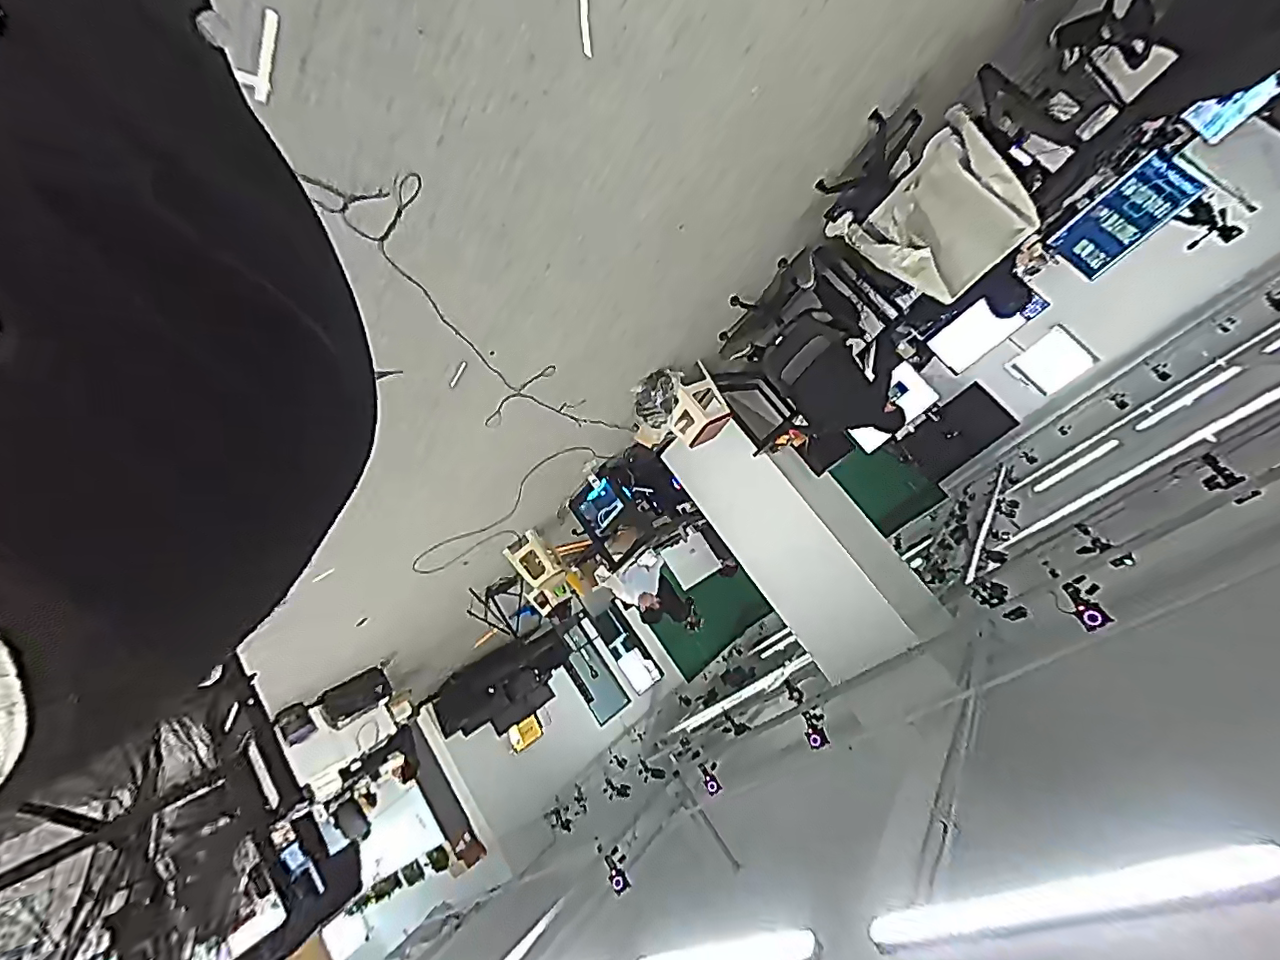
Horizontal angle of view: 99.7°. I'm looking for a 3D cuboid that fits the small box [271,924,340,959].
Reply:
[{"bbox_3d":[-0.948,1.383,1.490,0.168,0.176,0.179,-40,165,26],"label":"small box"}]
